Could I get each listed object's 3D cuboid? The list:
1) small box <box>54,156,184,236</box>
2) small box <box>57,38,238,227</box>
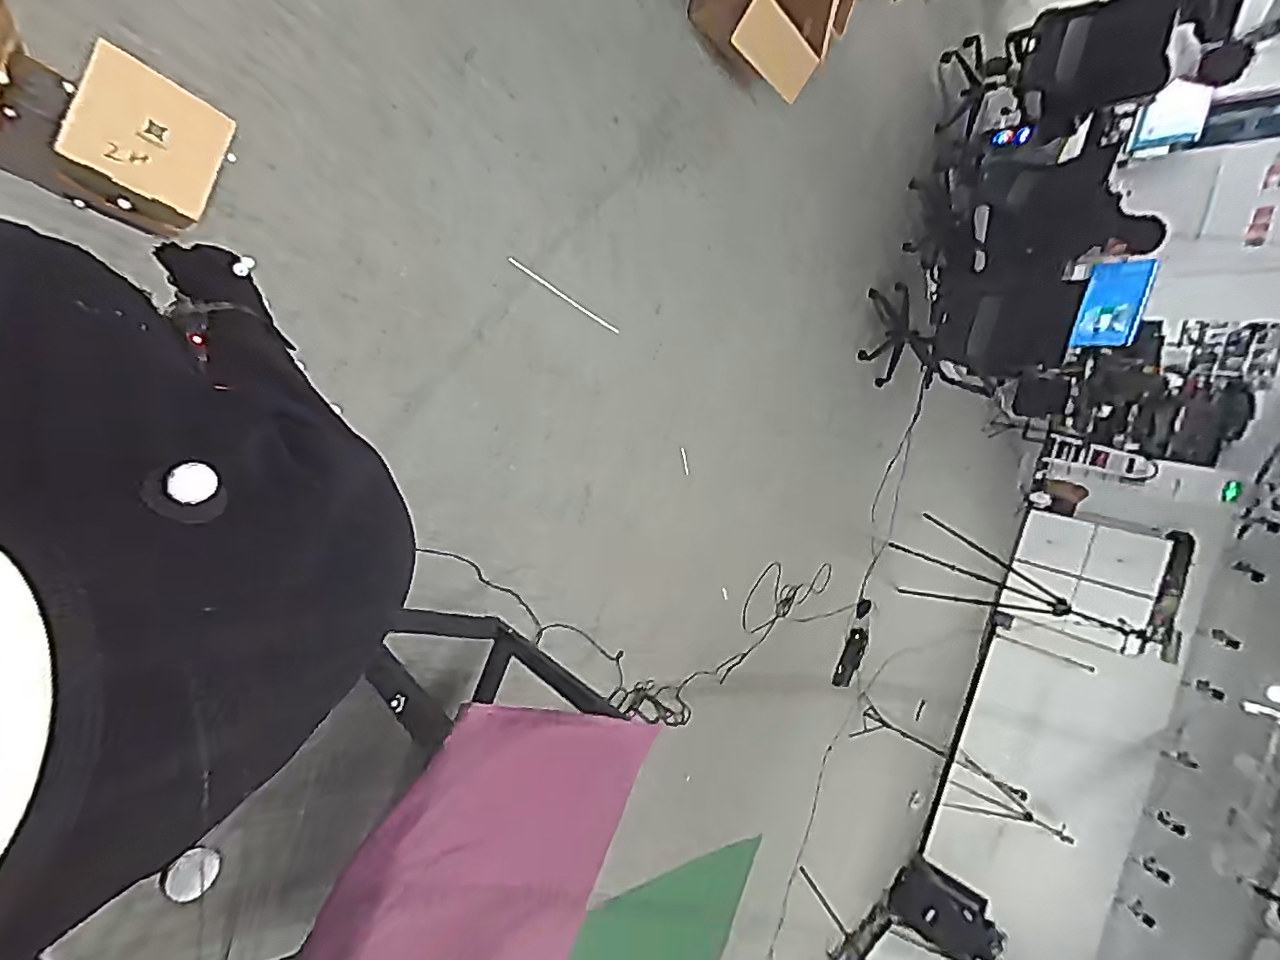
[{"bbox_3d":[-0.903,-0.564,0.971,0.168,0.176,0.179,21,87,-48],"label":"small box"},{"bbox_3d":[-0.783,-0.534,0.861,0.168,0.176,0.179,23,85,-47],"label":"small box"}]
